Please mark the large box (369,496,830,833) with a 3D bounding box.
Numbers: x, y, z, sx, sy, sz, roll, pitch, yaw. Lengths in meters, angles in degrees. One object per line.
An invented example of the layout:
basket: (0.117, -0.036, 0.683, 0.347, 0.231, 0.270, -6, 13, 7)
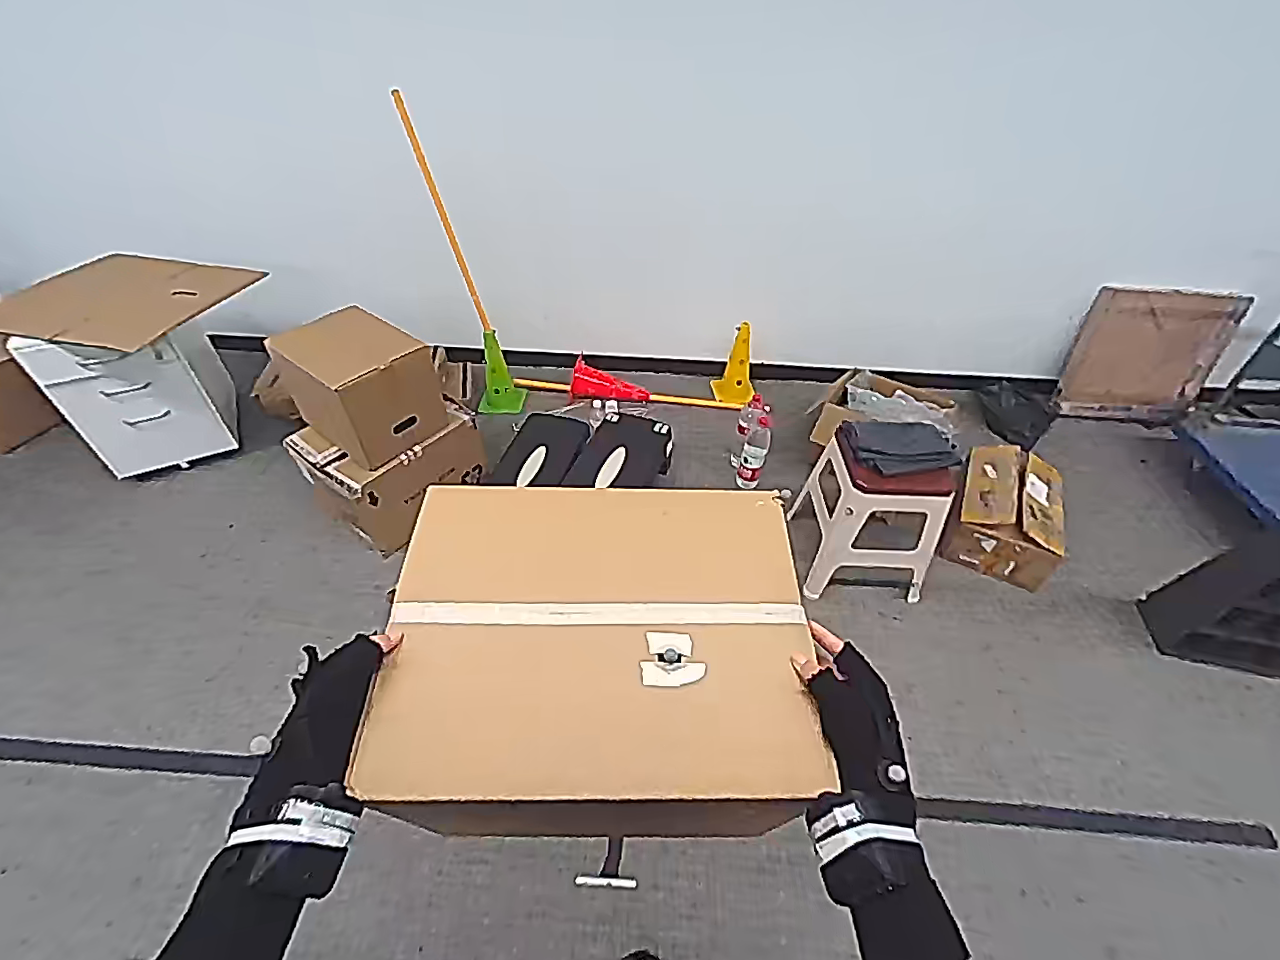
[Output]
large box: (-0.042, 0.233, 0.666, 0.408, 0.320, 0.320, 1, 53, -2)
